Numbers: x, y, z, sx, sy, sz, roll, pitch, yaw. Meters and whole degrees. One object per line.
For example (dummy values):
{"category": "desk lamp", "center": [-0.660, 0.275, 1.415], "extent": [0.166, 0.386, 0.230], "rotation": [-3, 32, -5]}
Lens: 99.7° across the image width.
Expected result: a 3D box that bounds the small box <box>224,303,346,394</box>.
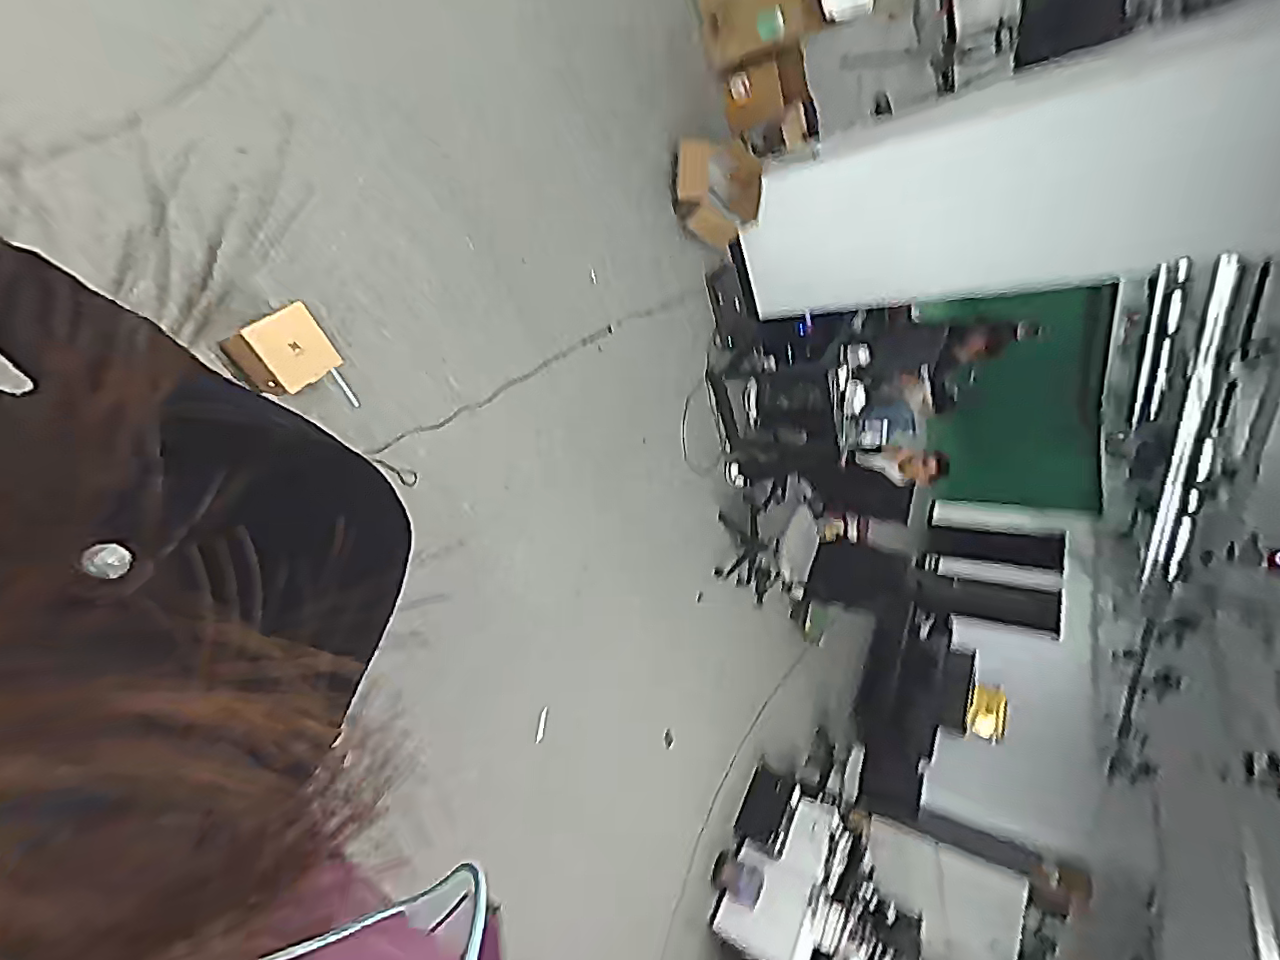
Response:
{"category": "small box", "center": [-0.915, -0.333, 1.392], "extent": [0.168, 0.176, 0.179], "rotation": [-51, 133, -36]}
